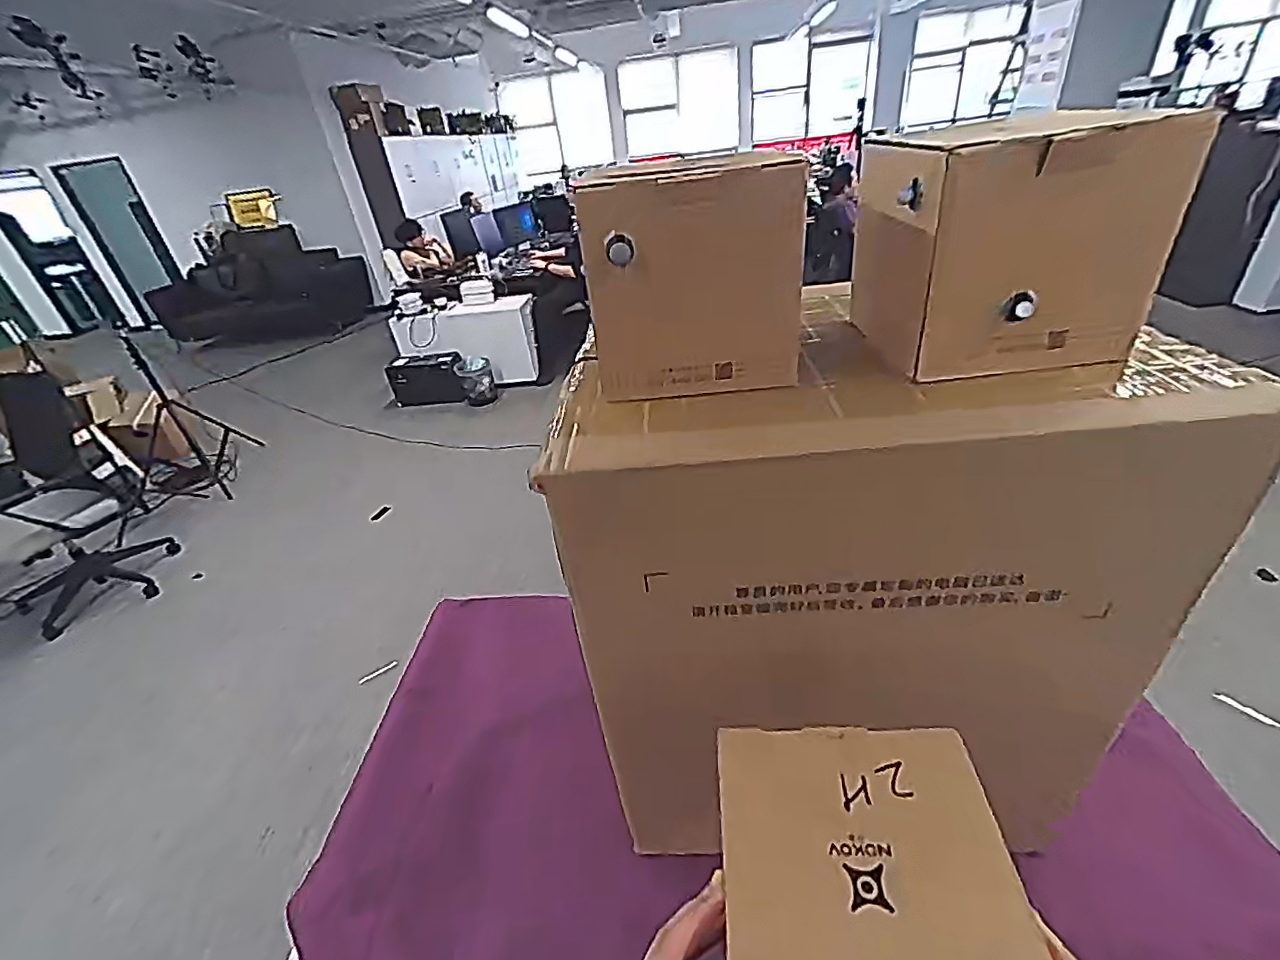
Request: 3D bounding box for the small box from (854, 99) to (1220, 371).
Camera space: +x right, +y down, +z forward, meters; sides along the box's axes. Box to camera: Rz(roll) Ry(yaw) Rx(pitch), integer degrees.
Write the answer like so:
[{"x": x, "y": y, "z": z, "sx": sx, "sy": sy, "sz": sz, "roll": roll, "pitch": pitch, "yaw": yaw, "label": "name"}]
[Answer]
[{"x": 0.292, "y": -0.205, "z": 0.456, "sx": 0.168, "sy": 0.176, "sz": 0.179, "roll": -6, "pitch": 33, "yaw": 4, "label": "small box"}]
